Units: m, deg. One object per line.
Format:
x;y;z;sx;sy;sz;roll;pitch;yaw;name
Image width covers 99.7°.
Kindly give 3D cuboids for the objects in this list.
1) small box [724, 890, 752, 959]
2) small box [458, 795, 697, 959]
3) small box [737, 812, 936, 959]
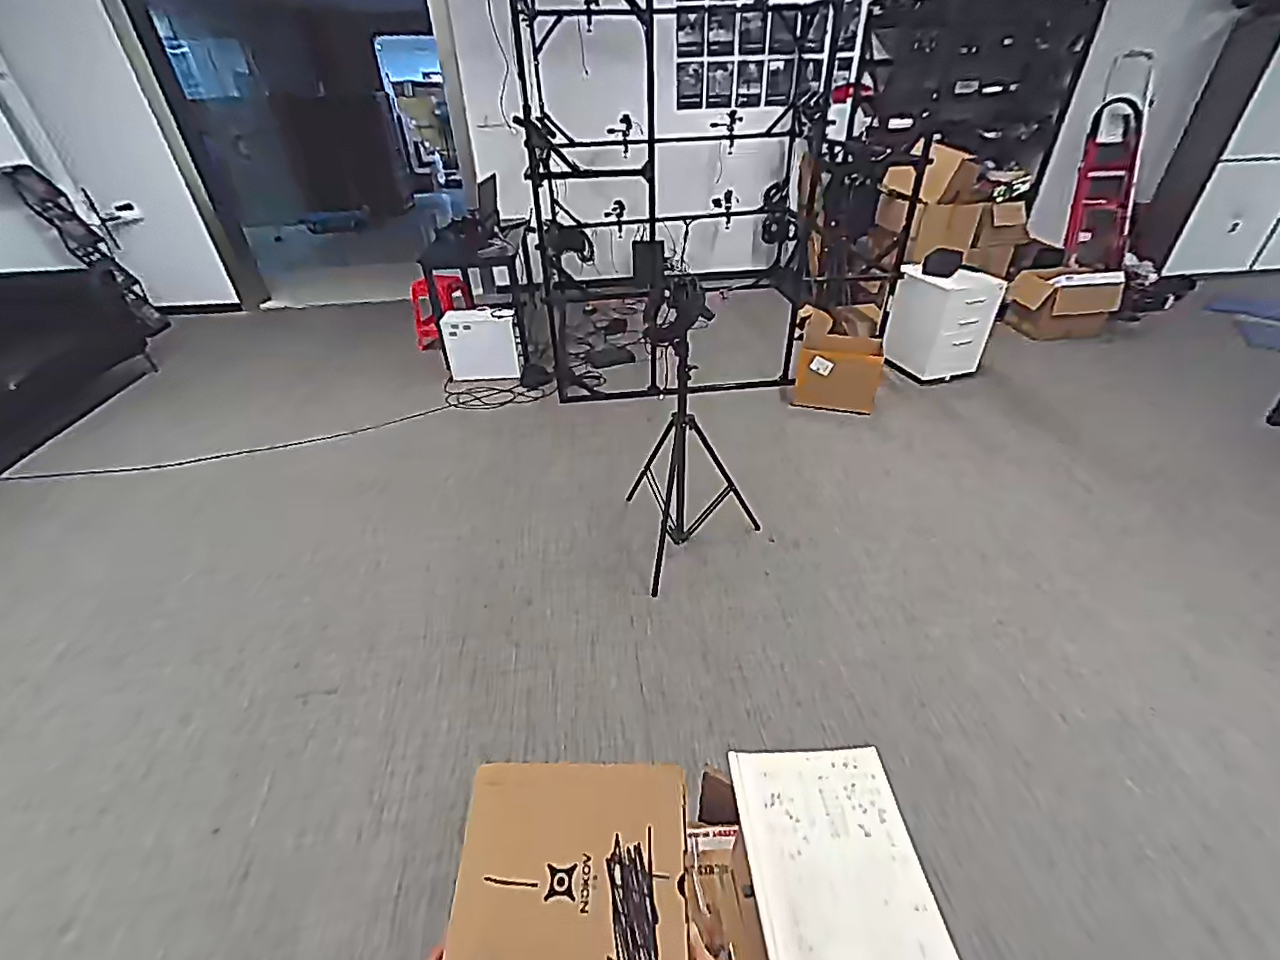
0.225;0.677;0.747;0.179;0.176;0.168;-5;36;-7;small box
-0.045;0.381;0.463;0.179;0.176;0.168;0;50;1;small box
0.223;0.540;0.657;0.168;0.176;0.179;-3;36;-5;small box
